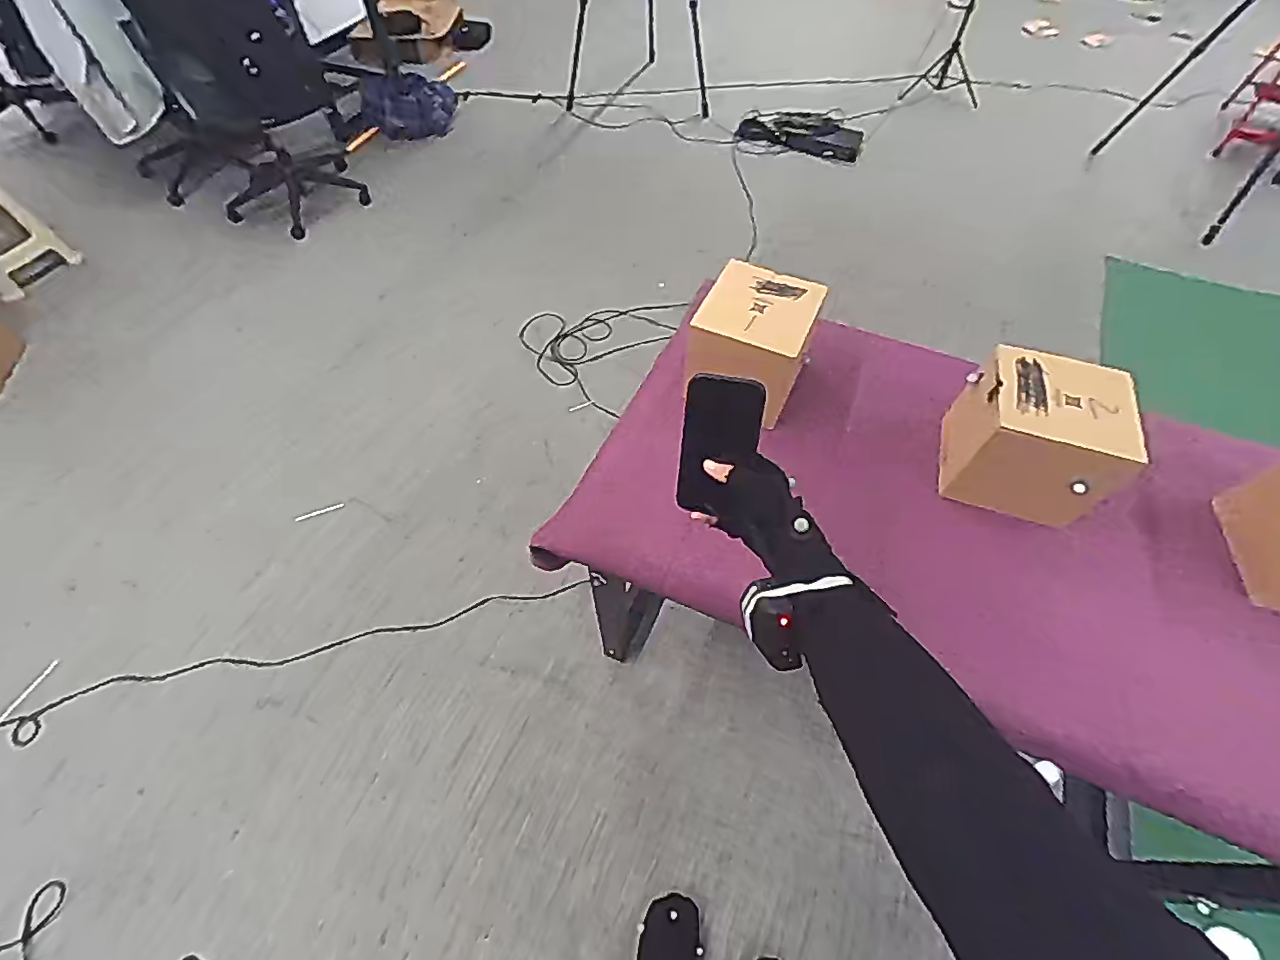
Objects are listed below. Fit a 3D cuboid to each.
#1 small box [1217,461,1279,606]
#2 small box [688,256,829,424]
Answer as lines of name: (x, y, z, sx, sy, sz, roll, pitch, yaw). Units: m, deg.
small box: (0.917, 0.073, 0.689, 0.168, 0.176, 0.179, 12, 57, 9)
small box: (0.184, -0.225, 0.883, 0.168, 0.176, 0.179, 23, 61, 14)
